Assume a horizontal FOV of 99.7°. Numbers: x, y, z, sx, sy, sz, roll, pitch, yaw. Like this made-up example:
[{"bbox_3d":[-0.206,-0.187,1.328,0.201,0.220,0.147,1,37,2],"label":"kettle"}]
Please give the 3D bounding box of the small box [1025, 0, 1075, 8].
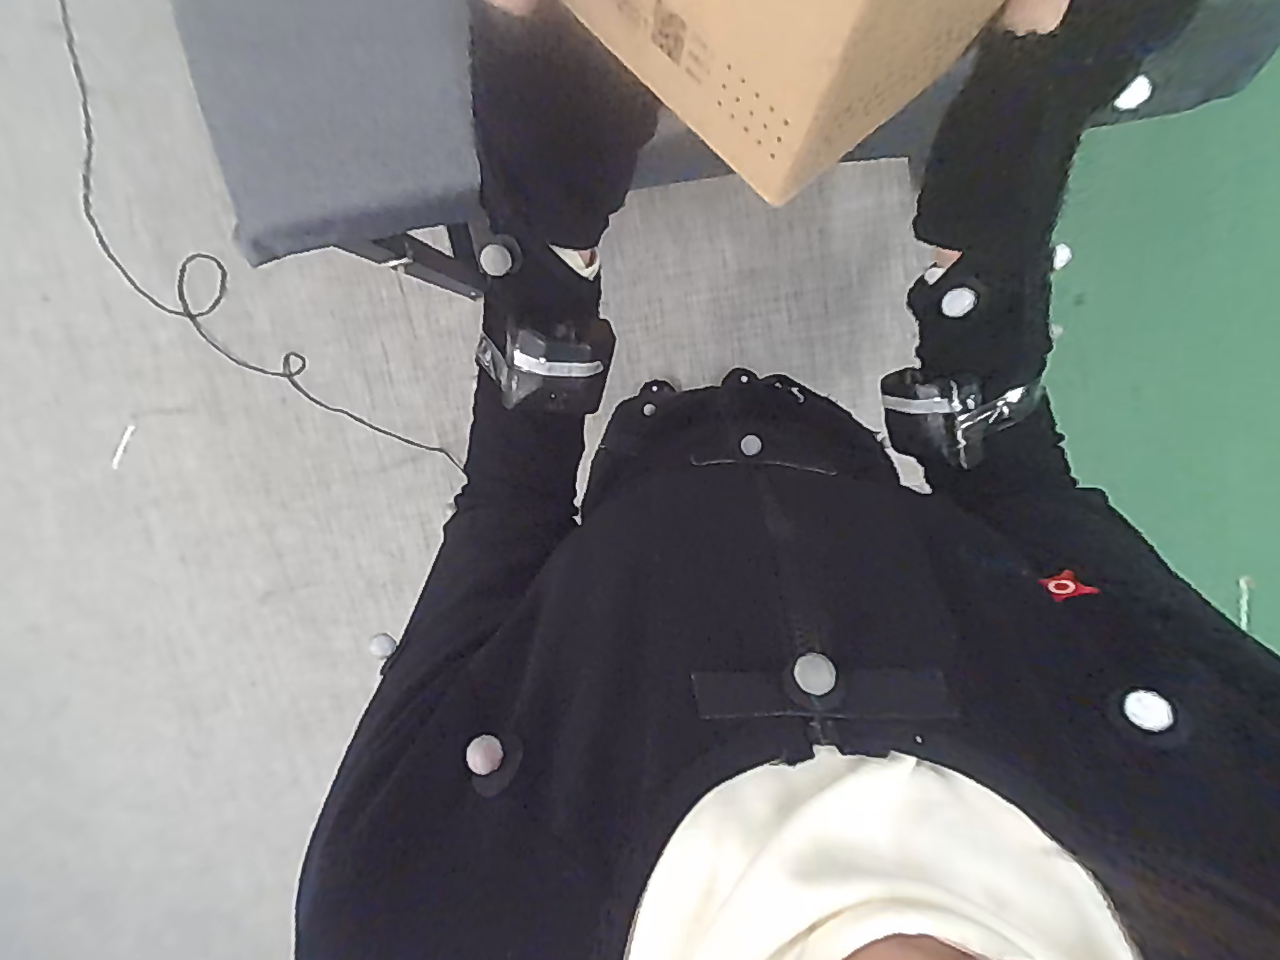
[{"bbox_3d":[0.460,-0.580,0.486,0.168,0.176,0.179,-14,98,6],"label":"small box"}]
